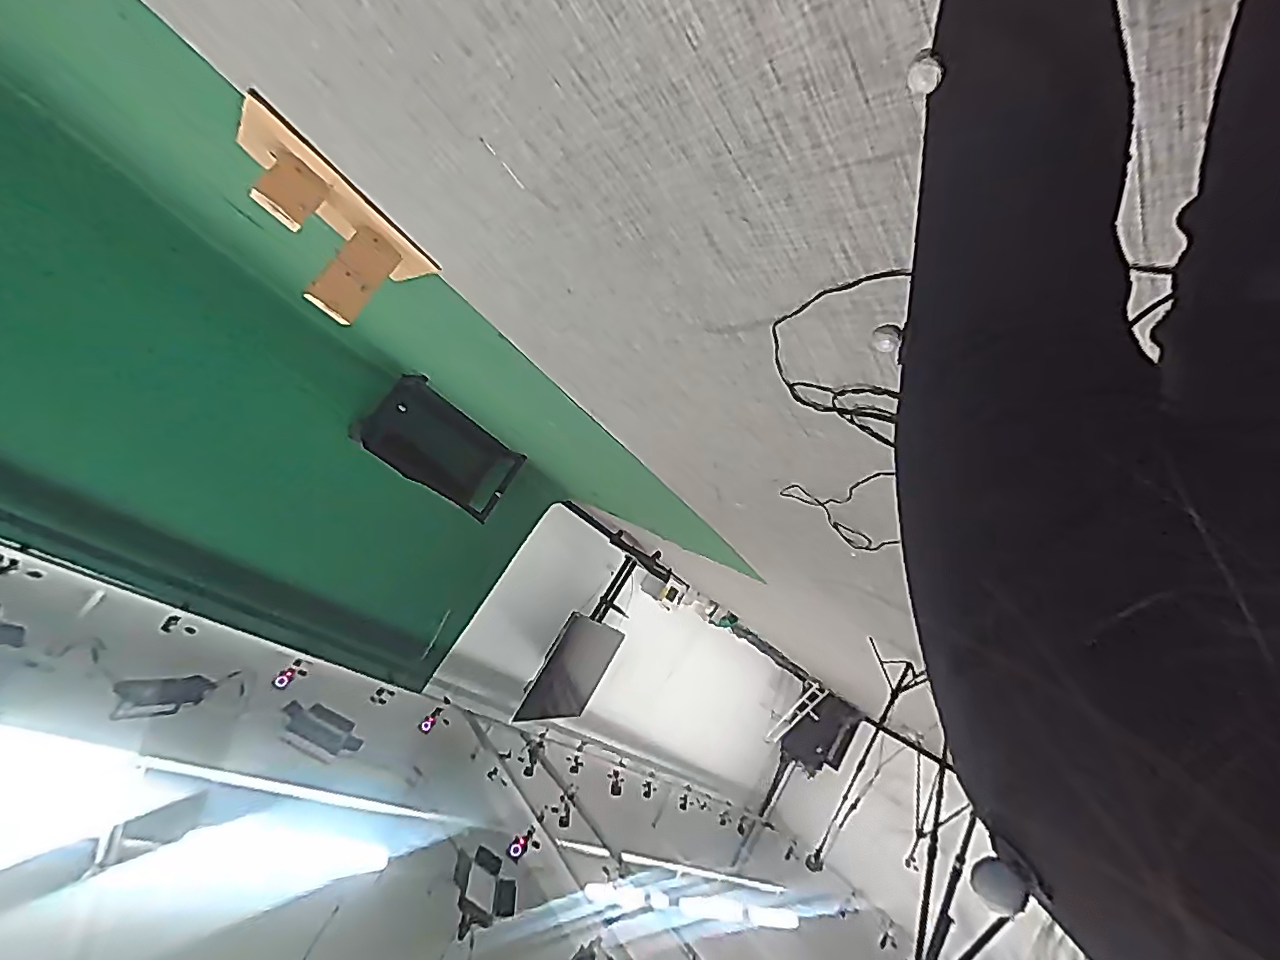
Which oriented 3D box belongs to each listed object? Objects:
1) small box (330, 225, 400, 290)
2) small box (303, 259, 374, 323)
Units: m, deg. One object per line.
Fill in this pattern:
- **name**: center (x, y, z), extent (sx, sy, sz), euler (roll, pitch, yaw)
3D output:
- **small box**: center (-1.069, -0.863, 2.108), extent (0.168, 0.176, 0.179), euler (40, 166, -38)
- **small box**: center (-1.154, -0.726, 2.078), extent (0.179, 0.176, 0.168), euler (21, 164, 49)
